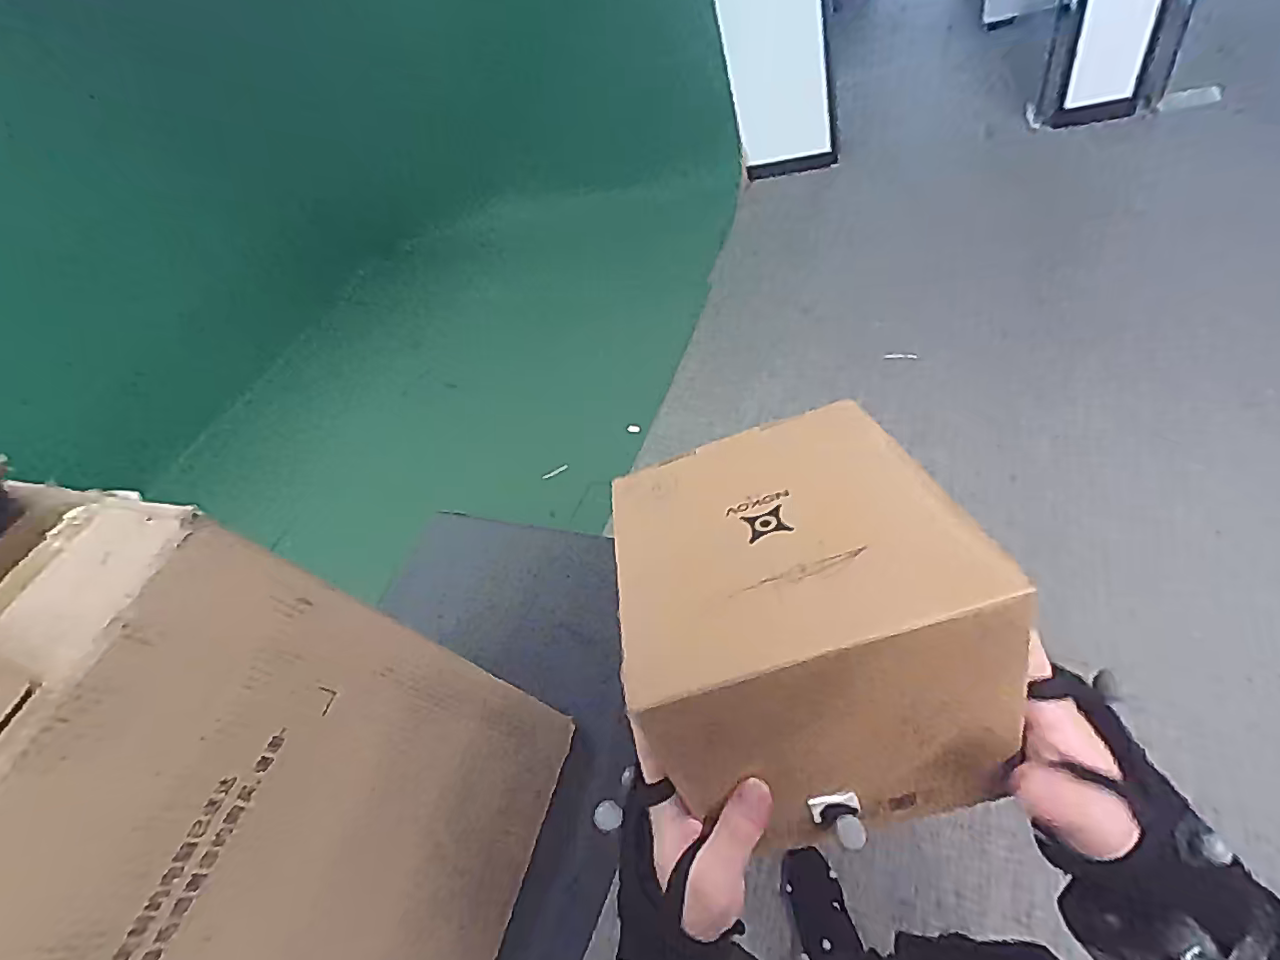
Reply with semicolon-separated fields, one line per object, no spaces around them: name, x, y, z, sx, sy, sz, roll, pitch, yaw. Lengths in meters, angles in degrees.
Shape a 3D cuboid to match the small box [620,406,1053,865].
small box;0.096;0.087;0.326;0.168;0.176;0.179;-19;35;5
